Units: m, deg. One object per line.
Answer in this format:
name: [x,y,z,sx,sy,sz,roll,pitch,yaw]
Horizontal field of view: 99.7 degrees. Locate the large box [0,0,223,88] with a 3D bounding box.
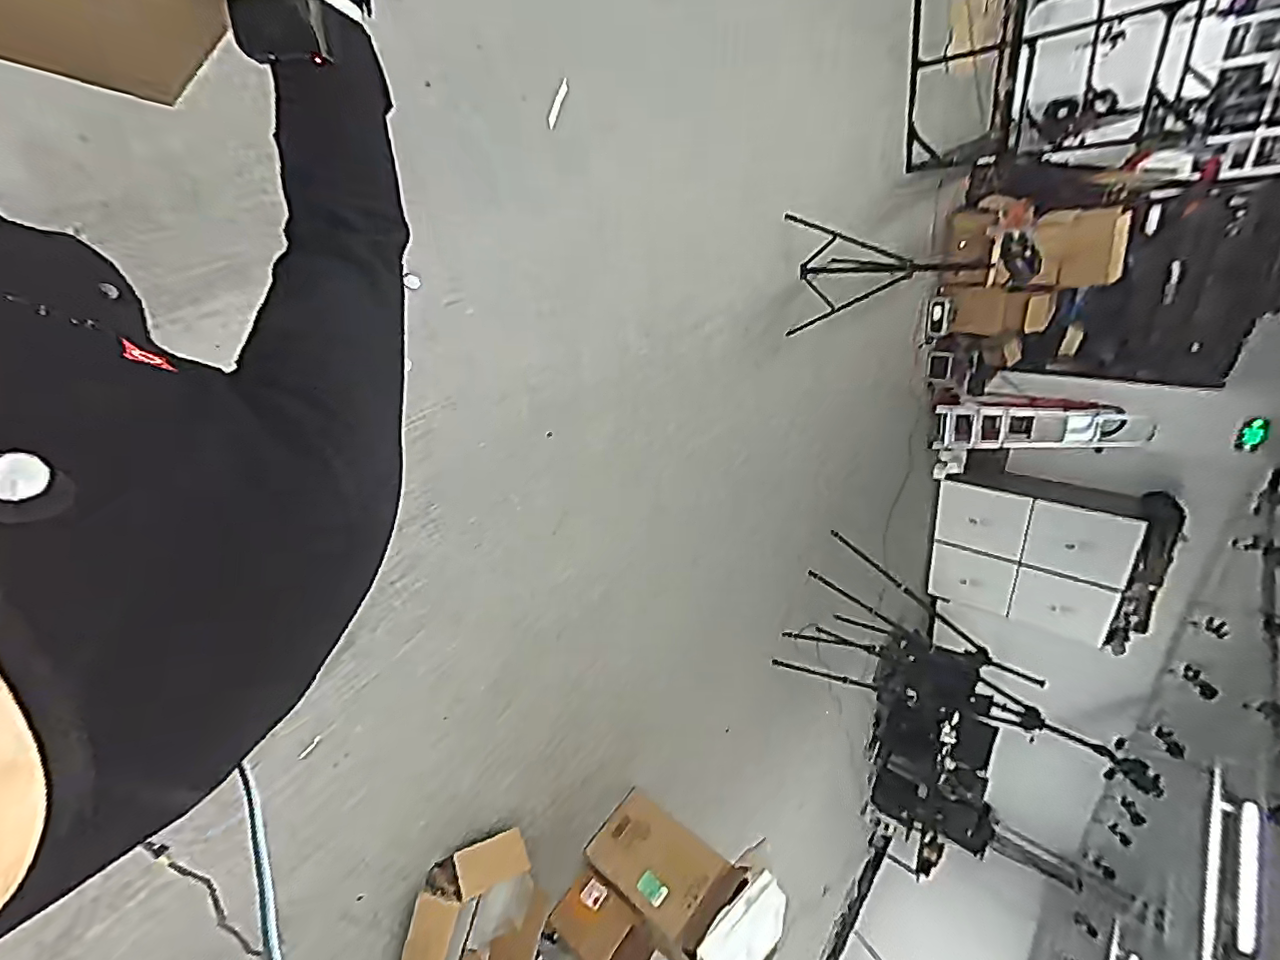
large box: [-0.499,-0.480,0.275,0.408,0.320,0.320,-13,112,-47]
